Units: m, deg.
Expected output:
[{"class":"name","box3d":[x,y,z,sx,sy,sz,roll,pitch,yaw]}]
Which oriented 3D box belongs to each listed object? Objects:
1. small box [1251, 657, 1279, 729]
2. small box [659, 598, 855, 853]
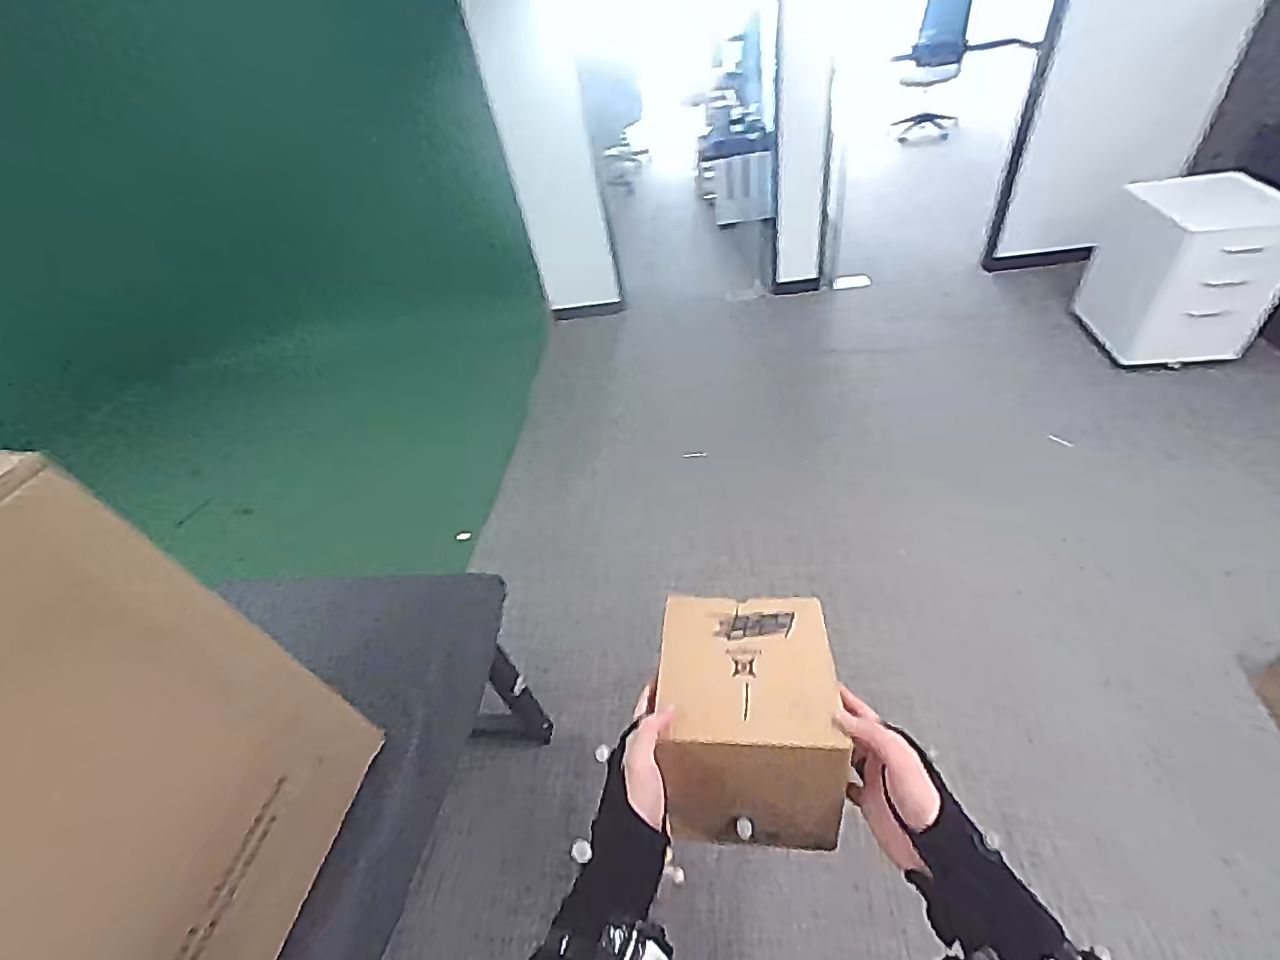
[{"class":"small box","box3d":[1.629,0.516,1.276,0.168,0.176,0.179,2,43,14]},{"class":"small box","box3d":[0.117,0.245,0.564,0.168,0.176,0.179,-2,31,10]}]
